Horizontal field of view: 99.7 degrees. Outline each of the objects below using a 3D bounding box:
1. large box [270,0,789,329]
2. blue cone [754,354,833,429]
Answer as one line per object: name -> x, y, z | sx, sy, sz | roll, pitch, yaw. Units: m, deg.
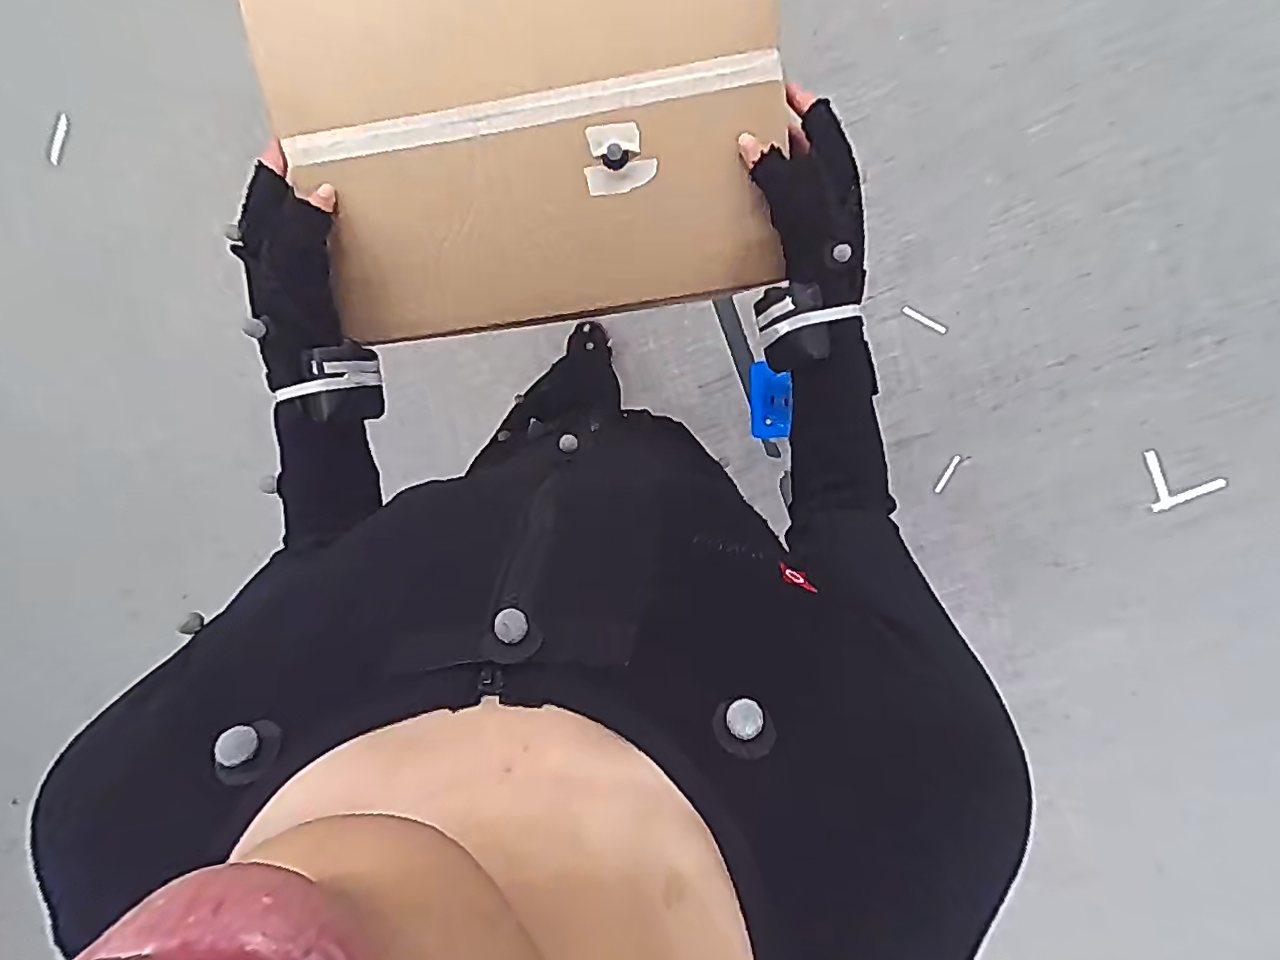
large box -> -0.084, -0.352, 0.589 | 0.408, 0.320, 0.320 | -7, 106, 3
blue cone -> 0.379, -0.203, 1.244 | 0.193, 0.380, 0.192 | 0, 99, 5
